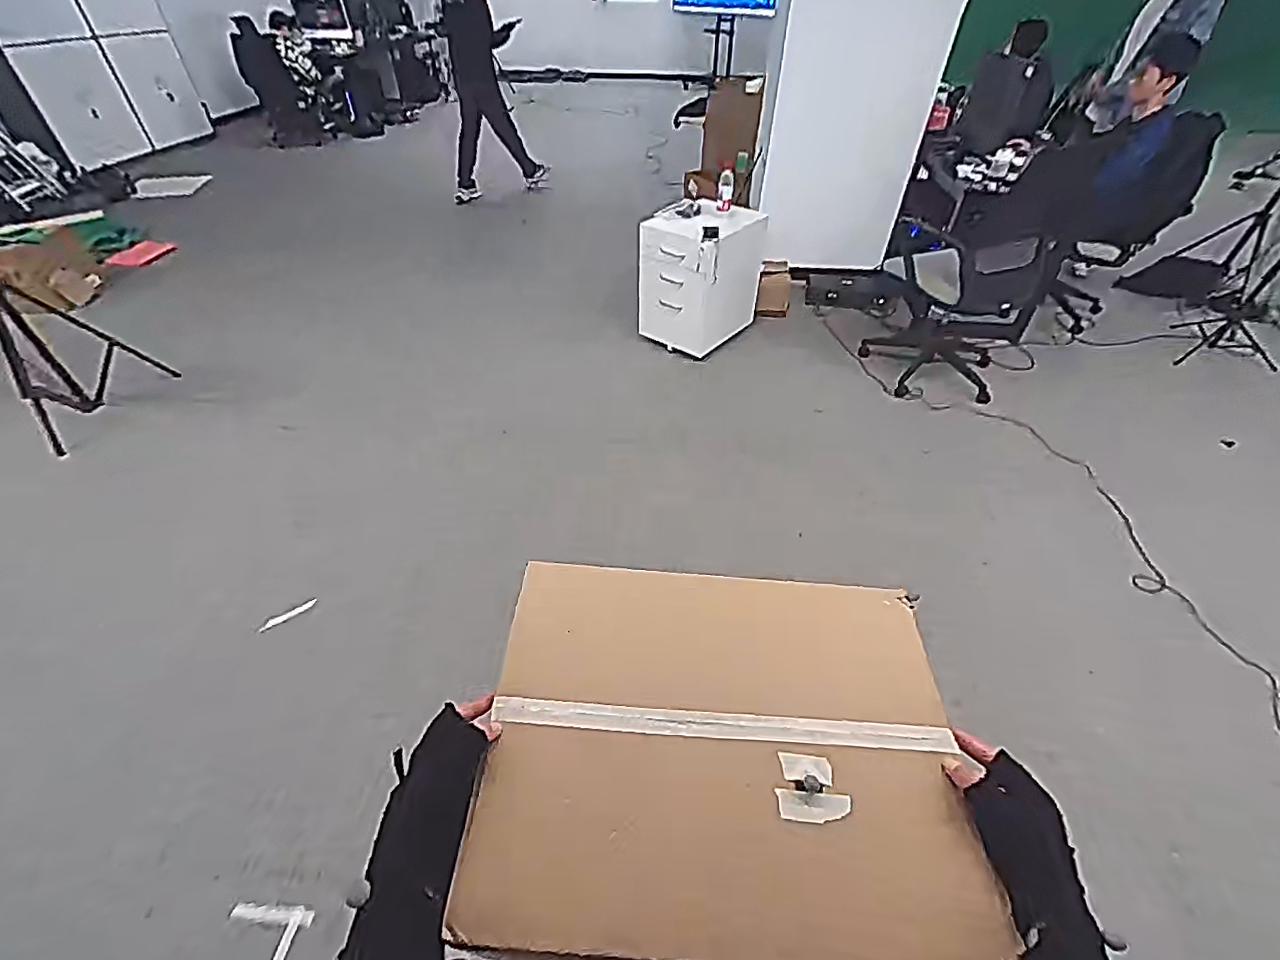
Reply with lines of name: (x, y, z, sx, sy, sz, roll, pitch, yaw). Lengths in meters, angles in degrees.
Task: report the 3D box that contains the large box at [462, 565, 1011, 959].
large box: (0.067, 0.318, 0.591, 0.408, 0.320, 0.320, 5, 47, 0)
